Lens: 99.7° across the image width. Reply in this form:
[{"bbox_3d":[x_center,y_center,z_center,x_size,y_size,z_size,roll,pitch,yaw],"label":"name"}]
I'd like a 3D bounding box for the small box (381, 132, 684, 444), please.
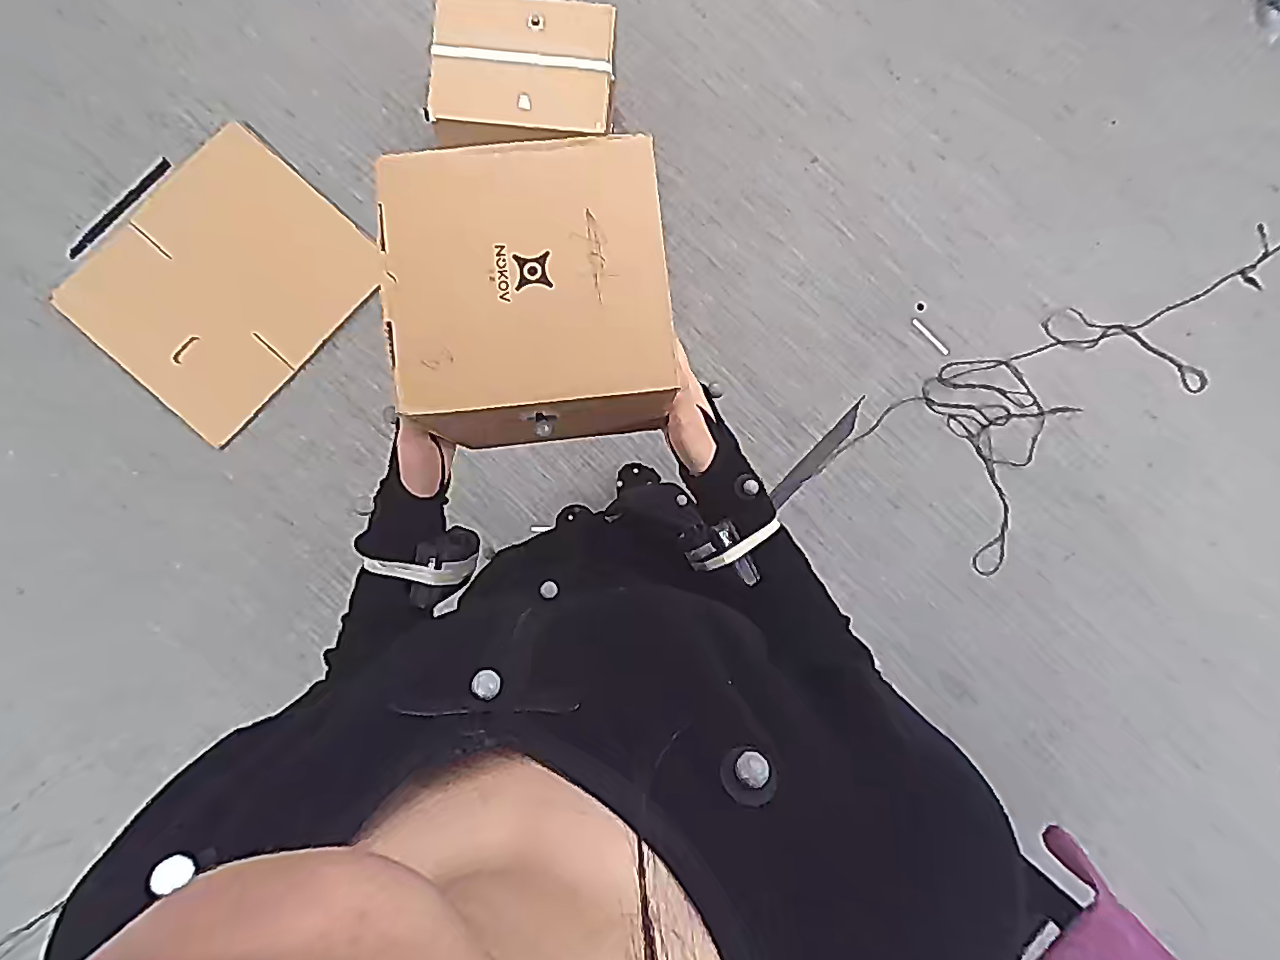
[{"bbox_3d":[-0.069,-0.124,0.412,0.179,0.176,0.168,-7,87,-3],"label":"small box"}]
